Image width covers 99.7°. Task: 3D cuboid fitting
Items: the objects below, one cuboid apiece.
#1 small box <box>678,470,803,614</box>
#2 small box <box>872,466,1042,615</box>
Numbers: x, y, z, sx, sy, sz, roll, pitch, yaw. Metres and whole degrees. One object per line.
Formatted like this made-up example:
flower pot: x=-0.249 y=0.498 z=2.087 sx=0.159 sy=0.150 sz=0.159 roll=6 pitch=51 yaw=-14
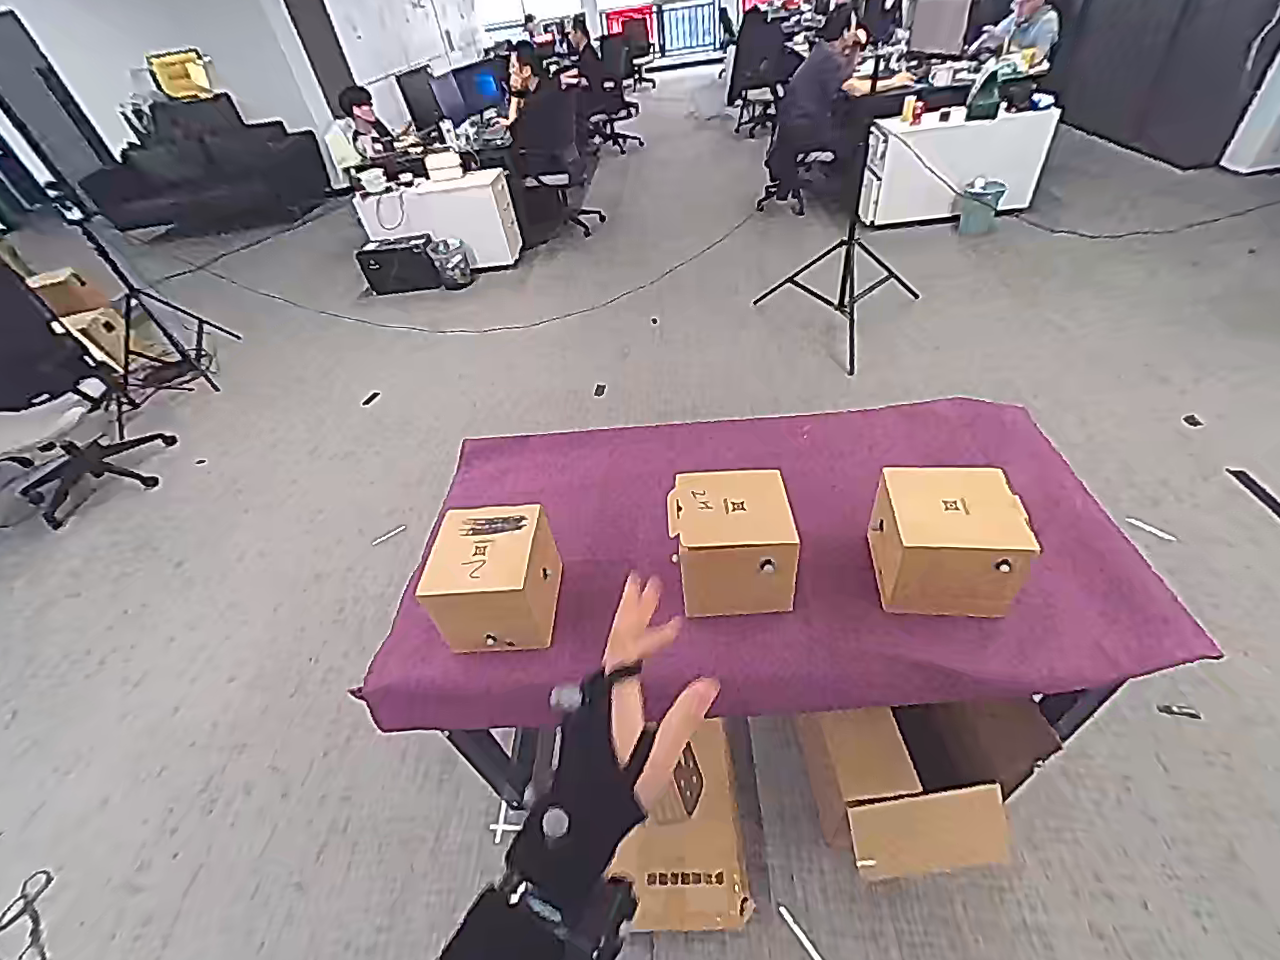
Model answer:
small box: x=0.156 y=0.103 z=0.887 sx=0.179 sy=0.176 sz=0.168 roll=-5 pitch=40 yaw=5
small box: x=0.472 y=0.094 z=0.842 sx=0.179 sy=0.176 sz=0.168 roll=0 pitch=43 yaw=10
